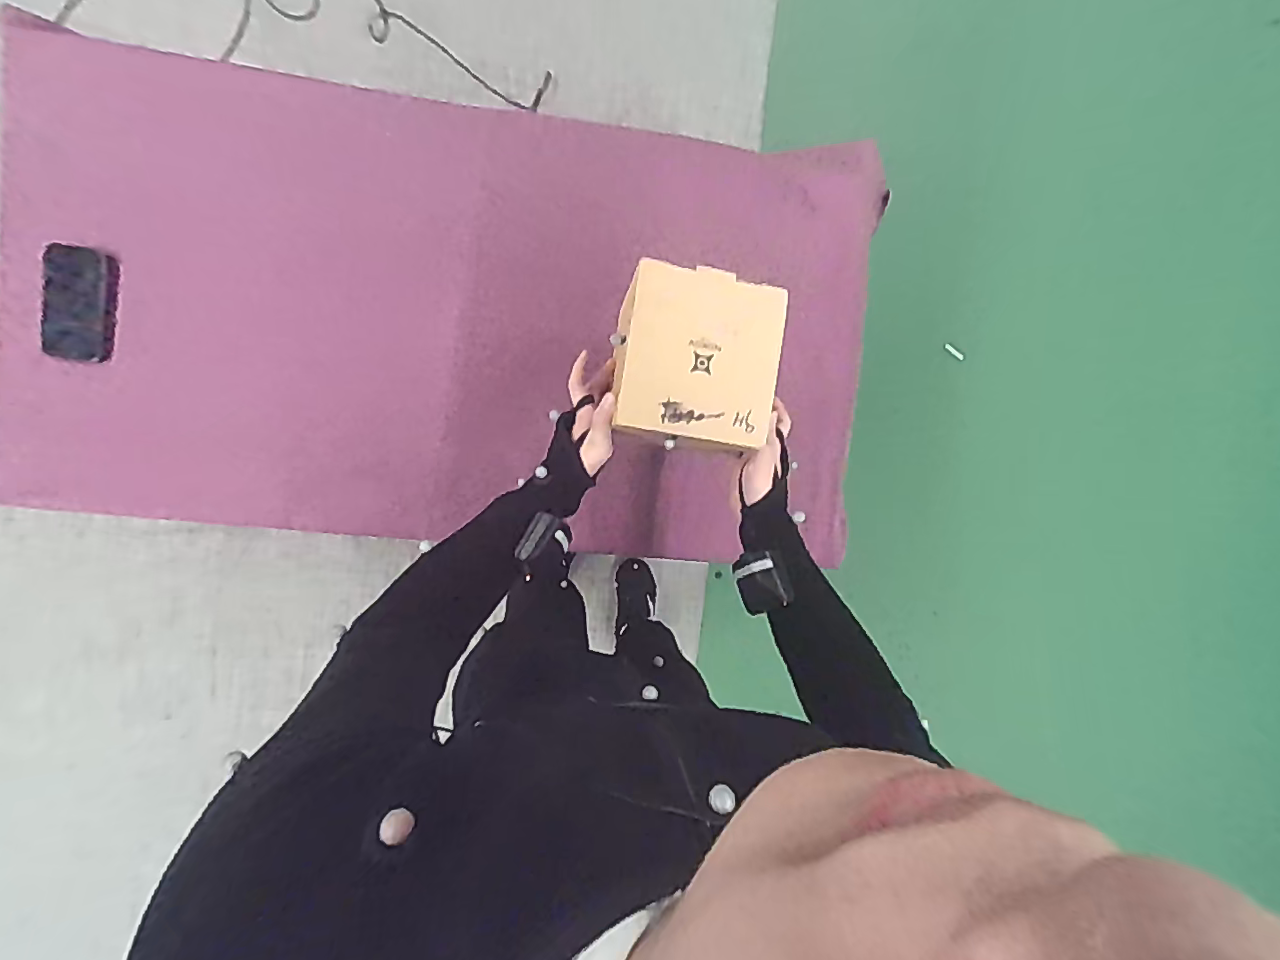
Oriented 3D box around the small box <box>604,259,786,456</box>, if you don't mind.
[{"bbox_3d":[0.053,-0.129,0.640,0.168,0.176,0.179,9,89,-8],"label":"small box"}]
